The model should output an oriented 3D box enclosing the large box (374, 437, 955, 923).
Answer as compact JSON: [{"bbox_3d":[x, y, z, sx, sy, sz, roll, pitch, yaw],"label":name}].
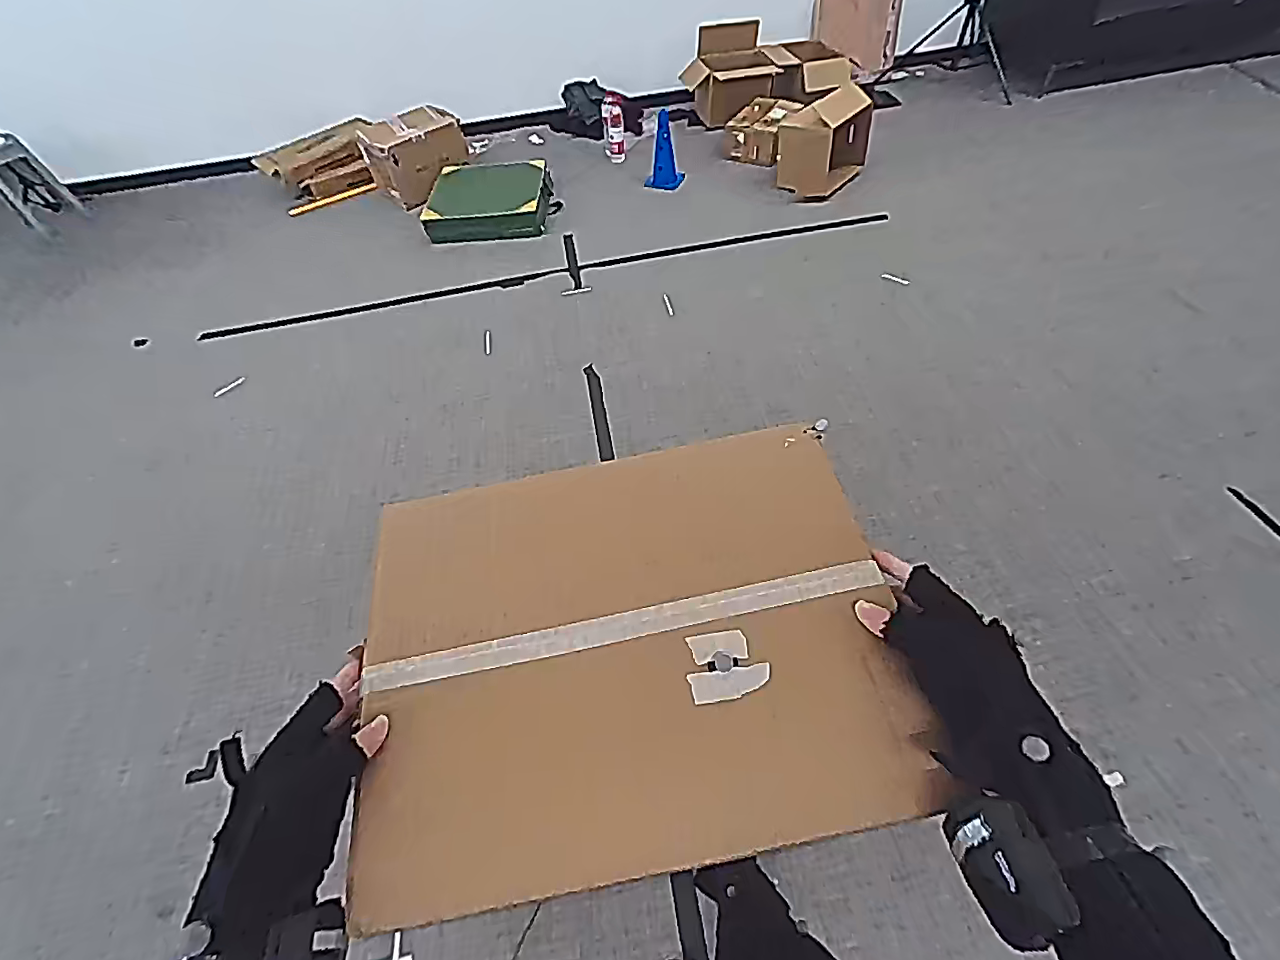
[{"bbox_3d":[0.005,0.203,0.560,0.408,0.320,0.320,-11,57,-1],"label":"large box"}]
